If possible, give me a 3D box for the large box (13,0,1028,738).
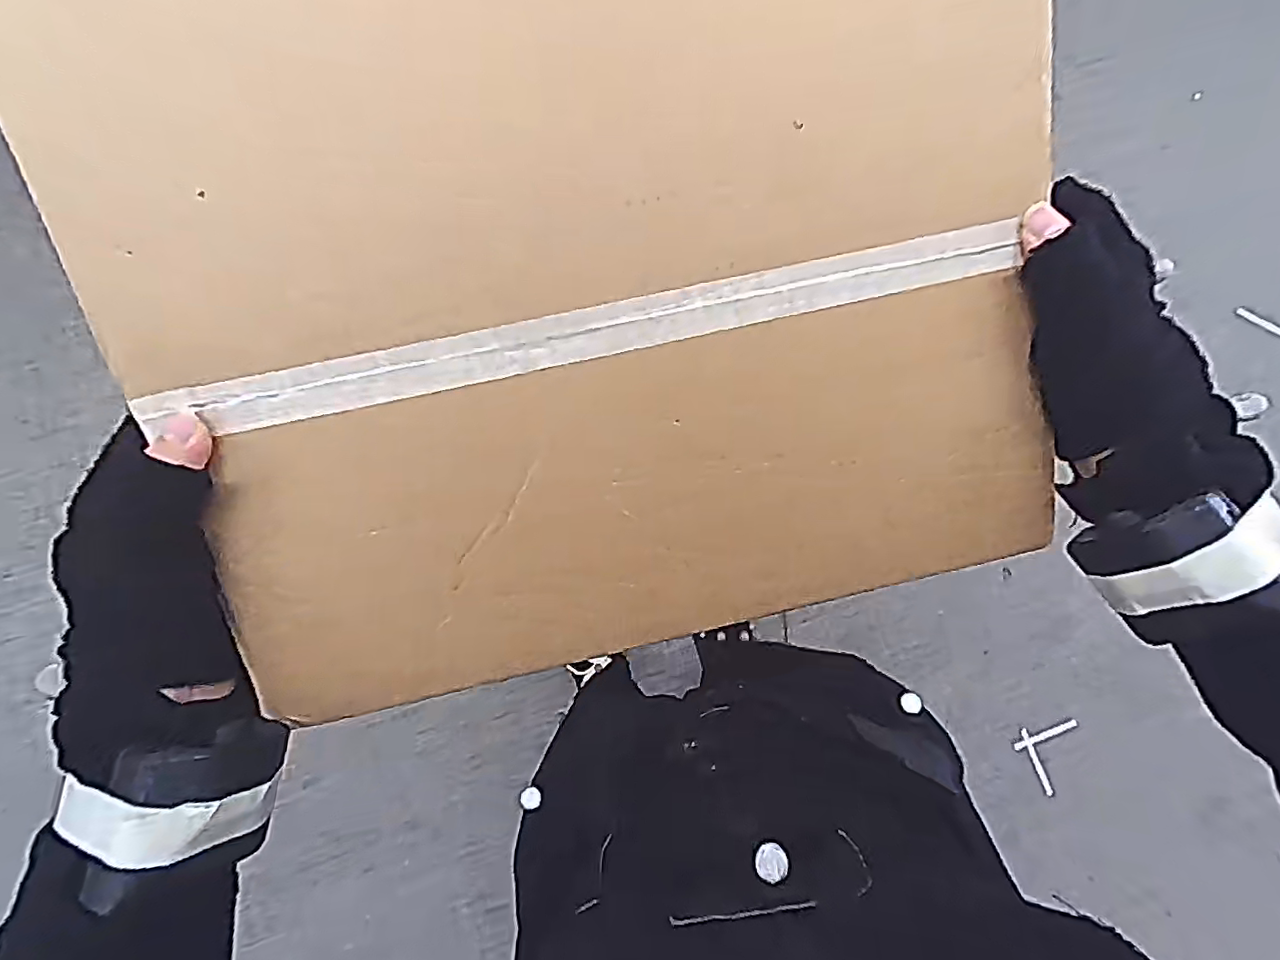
[{"bbox_3d":[-0.024,-0.094,0.392,0.408,0.320,0.320,-13,105,-4],"label":"large box"}]
